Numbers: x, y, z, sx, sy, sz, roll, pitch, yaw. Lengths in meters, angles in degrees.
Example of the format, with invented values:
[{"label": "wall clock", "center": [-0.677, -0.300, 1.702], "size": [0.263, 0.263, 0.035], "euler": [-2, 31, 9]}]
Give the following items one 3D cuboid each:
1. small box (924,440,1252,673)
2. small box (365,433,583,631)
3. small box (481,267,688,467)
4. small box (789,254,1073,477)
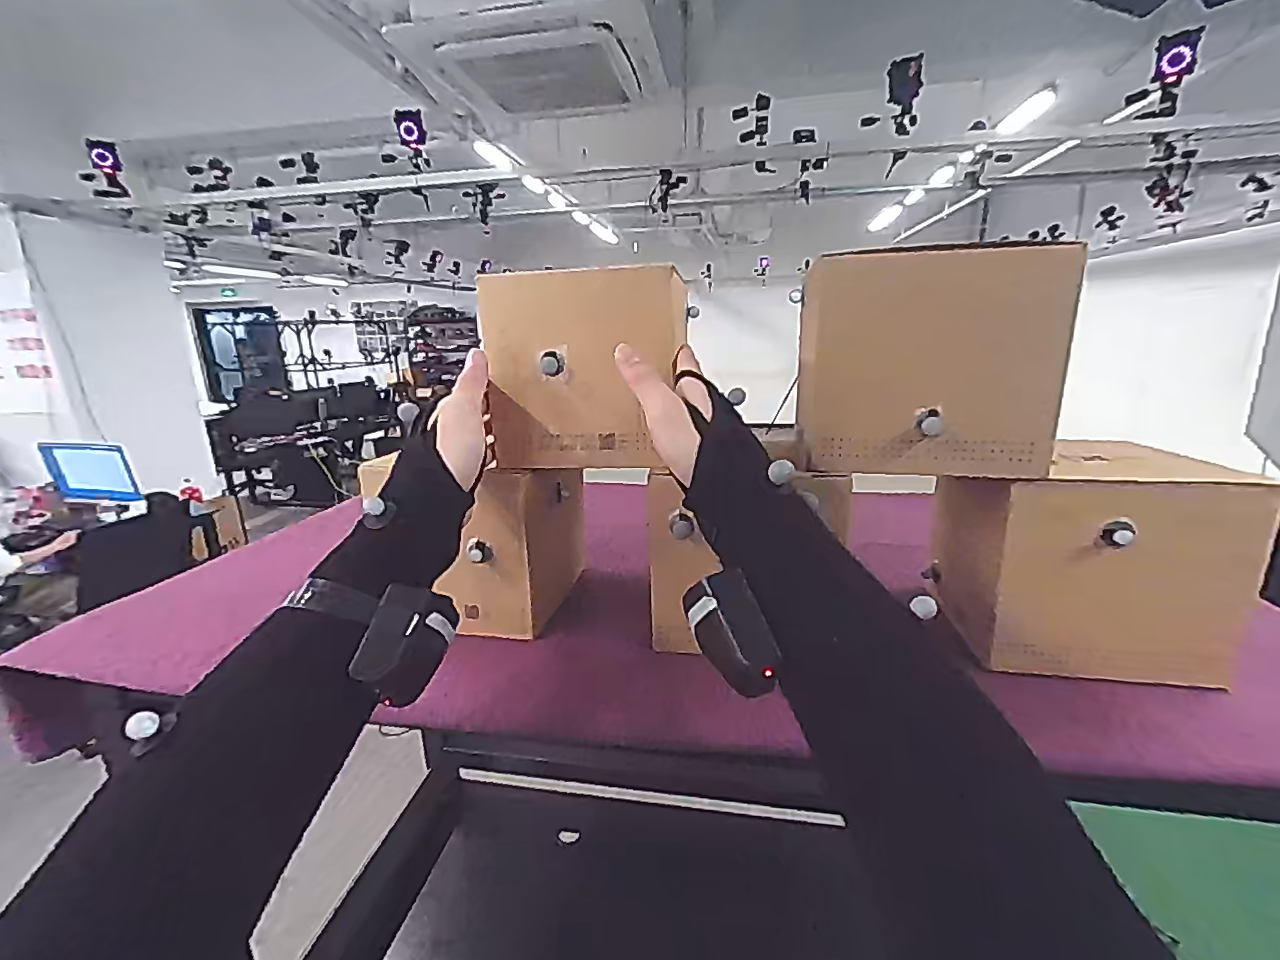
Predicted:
[{"label": "small box", "center": [0.383, 0.059, 0.505], "size": [0.179, 0.176, 0.168], "euler": [2, 15, 10]}, {"label": "small box", "center": [-0.162, 0.047, 0.592], "size": [0.168, 0.176, 0.179], "euler": [3, 15, 11]}, {"label": "small box", "center": [-0.039, -0.110, 0.543], "size": [0.168, 0.176, 0.179], "euler": [-1, 15, 8]}, {"label": "small box", "center": [0.234, -0.102, 0.487], "size": [0.179, 0.176, 0.168], "euler": [3, 15, 11]}]
